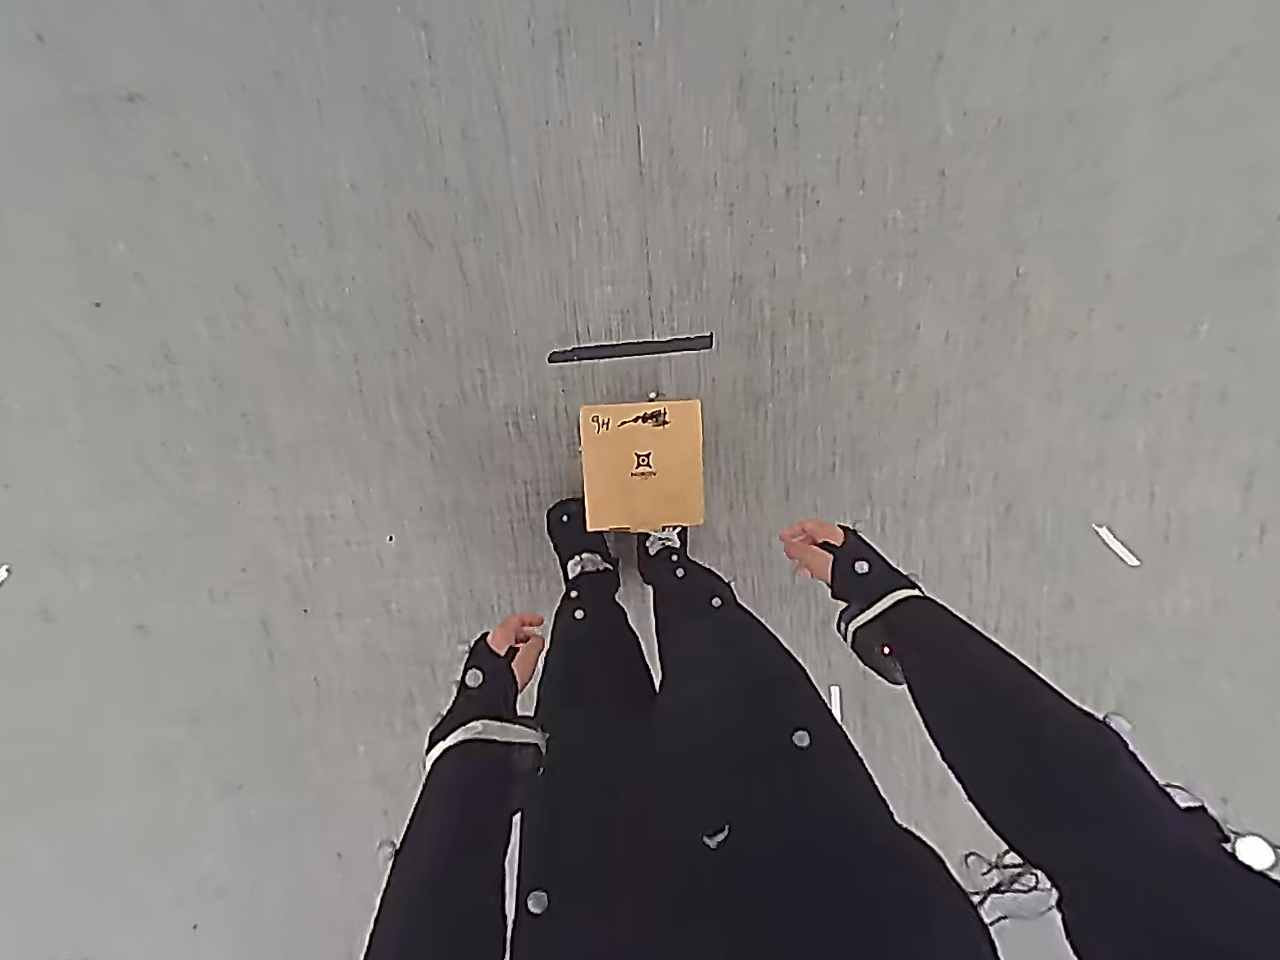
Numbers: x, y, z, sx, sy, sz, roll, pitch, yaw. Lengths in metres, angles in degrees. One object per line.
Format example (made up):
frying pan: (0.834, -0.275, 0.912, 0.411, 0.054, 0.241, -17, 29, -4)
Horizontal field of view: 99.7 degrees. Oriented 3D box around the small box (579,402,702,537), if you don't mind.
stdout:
small box: (0.001, -0.023, 0.808, 0.168, 0.176, 0.179, -3, 100, -1)
